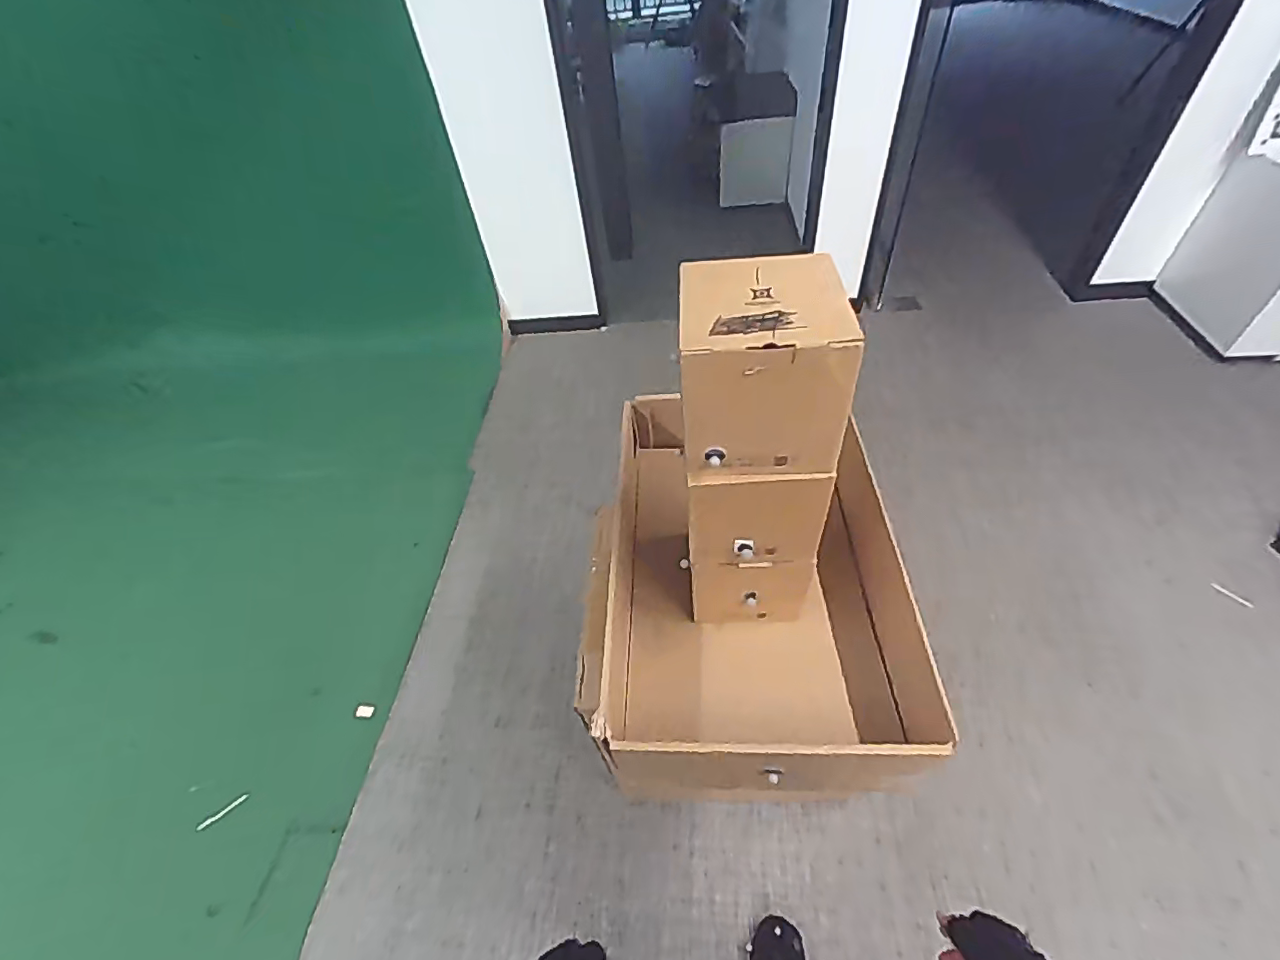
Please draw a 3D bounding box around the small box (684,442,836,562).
[{"bbox_3d":[0.144,-0.011,0.718,0.168,0.176,0.179,-4,49,4],"label":"small box"}]

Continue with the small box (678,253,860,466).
[{"bbox_3d":[0.130,-0.128,0.602,0.168,0.176,0.179,-1,47,6],"label":"small box"}]
